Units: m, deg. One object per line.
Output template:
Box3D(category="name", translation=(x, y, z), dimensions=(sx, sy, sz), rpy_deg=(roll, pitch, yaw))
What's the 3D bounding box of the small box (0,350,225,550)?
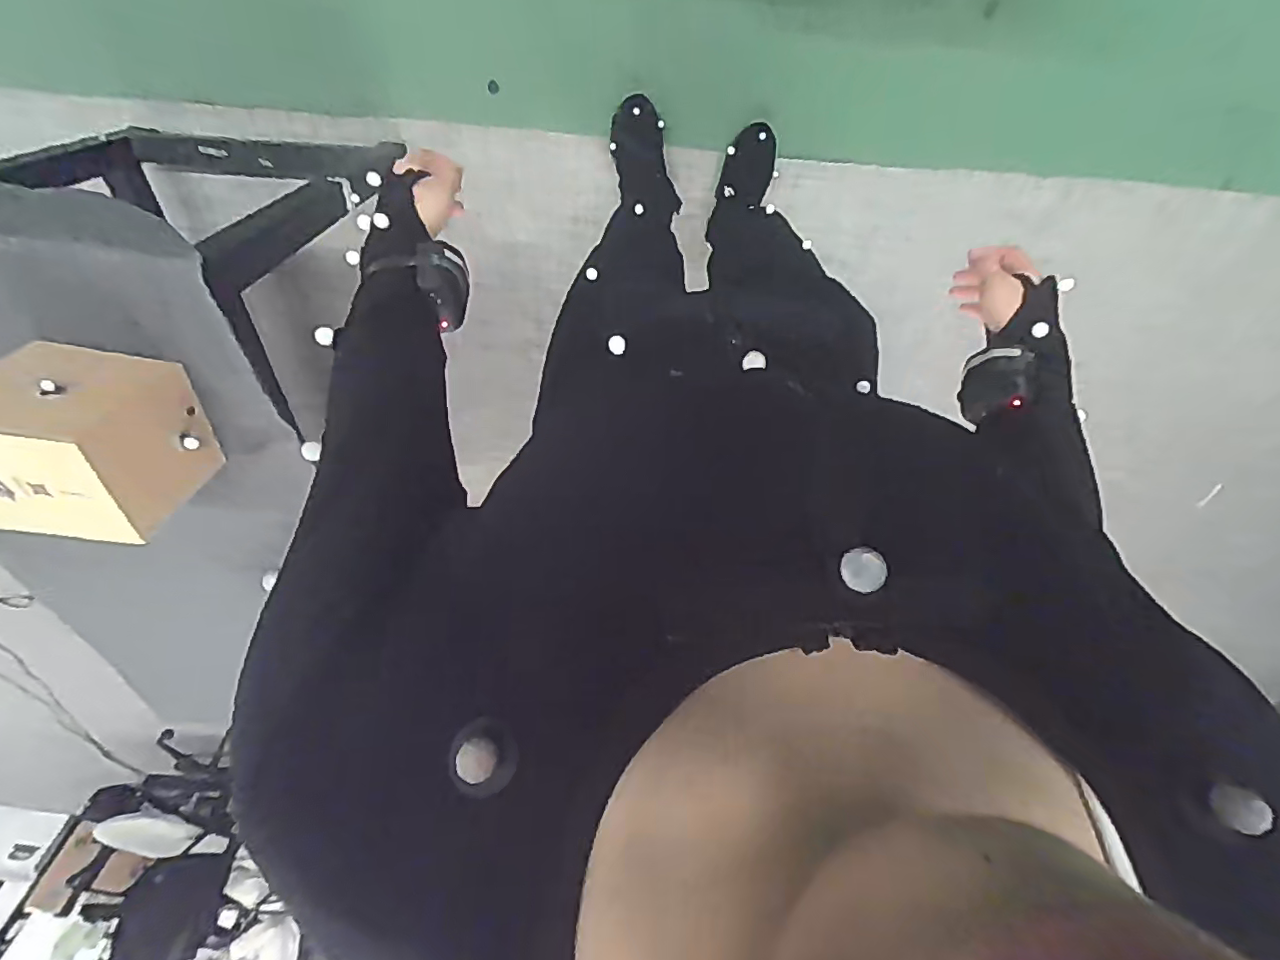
Box3D(category="small box", translation=(-0.669, -0.041, 0.660), dimensions=(0.179, 0.176, 0.168), rpy_deg=(8, 132, -4))
